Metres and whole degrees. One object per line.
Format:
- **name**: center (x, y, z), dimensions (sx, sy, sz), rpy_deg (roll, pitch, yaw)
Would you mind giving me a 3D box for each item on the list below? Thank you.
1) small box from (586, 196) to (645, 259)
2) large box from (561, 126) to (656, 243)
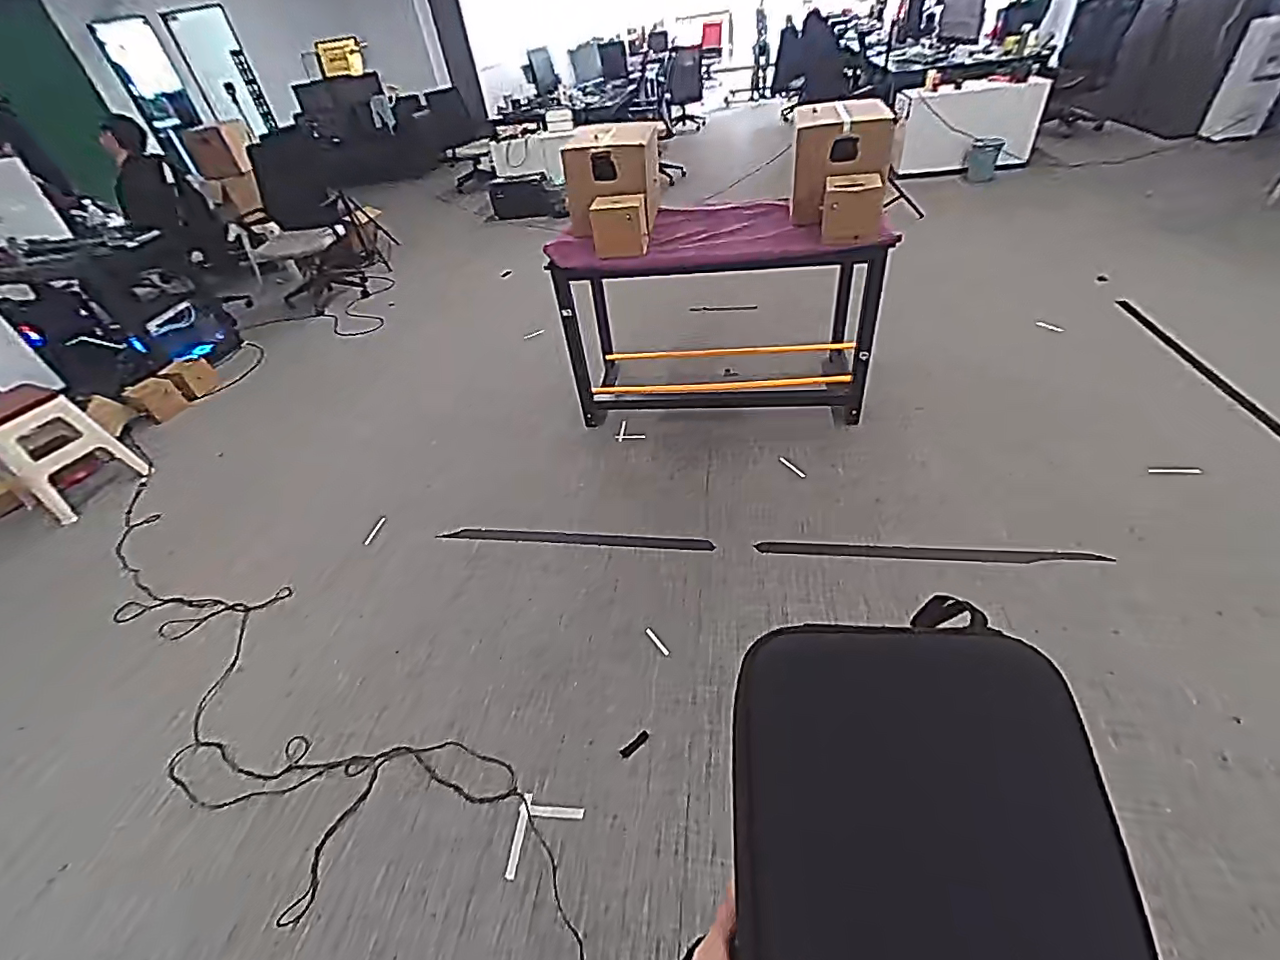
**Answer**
- **small box**: center (-0.083, -0.912, 1.957), dimensions (0.179, 0.176, 0.168), rpy_deg (-1, 40, 8)
- **large box**: center (-0.106, -1.188, 2.168), dimensions (0.320, 0.320, 0.408), rpy_deg (1, 44, 9)
